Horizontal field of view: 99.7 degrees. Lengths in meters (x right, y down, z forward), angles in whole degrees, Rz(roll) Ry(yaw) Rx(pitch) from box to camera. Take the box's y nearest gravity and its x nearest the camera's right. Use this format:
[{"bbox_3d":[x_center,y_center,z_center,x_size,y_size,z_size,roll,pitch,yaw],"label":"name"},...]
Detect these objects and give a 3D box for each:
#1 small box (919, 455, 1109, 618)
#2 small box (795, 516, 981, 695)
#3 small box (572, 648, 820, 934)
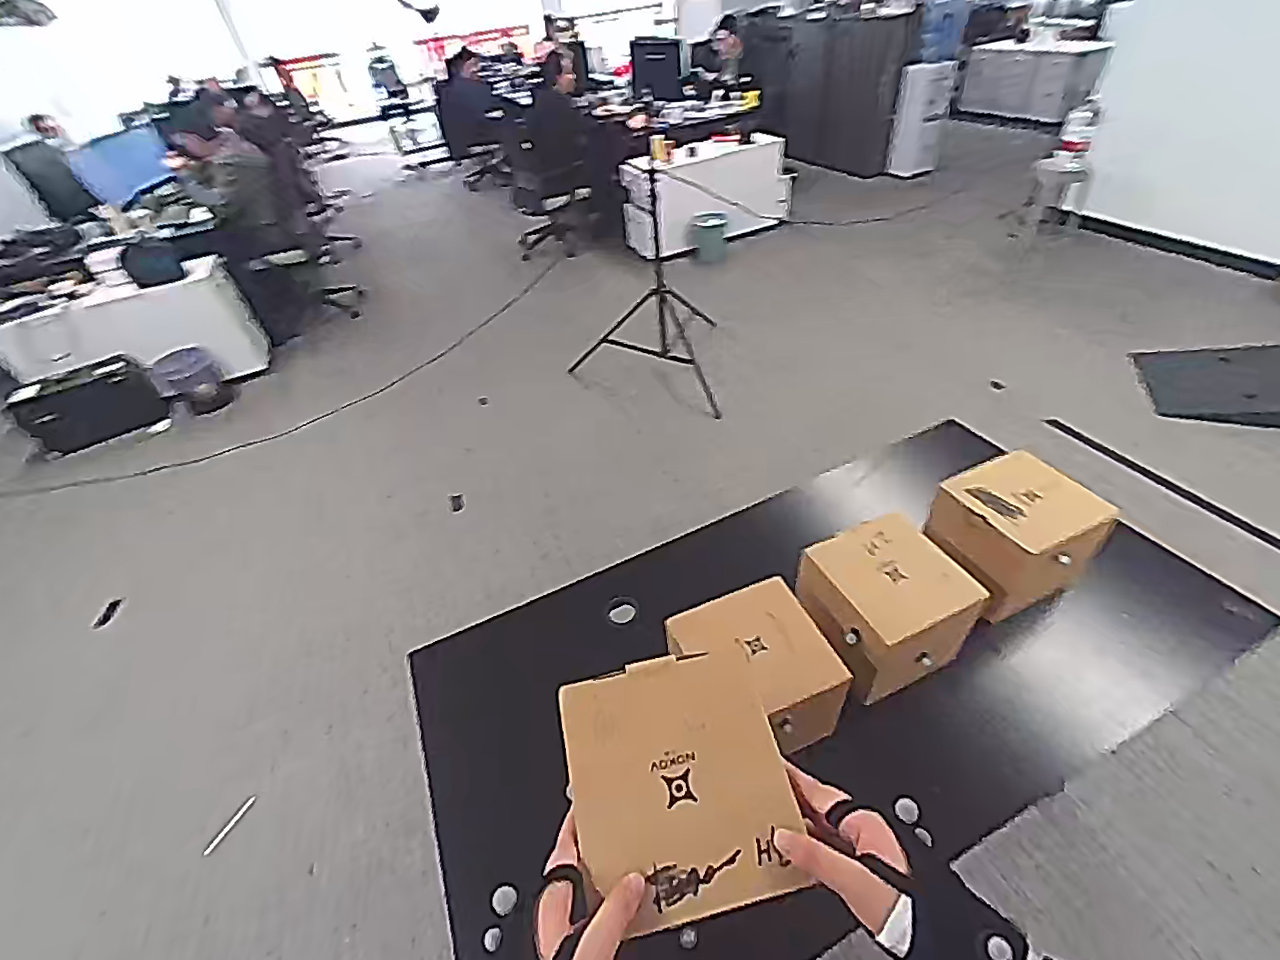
[{"bbox_3d":[0.582,0.093,0.873,0.179,0.176,0.168,-20,43,-13],"label":"small box"},{"bbox_3d":[0.350,0.191,0.802,0.168,0.176,0.179,-20,43,-14],"label":"small box"},{"bbox_3d":[0.037,0.278,0.492,0.168,0.176,0.179,-11,56,-4],"label":"small box"}]
